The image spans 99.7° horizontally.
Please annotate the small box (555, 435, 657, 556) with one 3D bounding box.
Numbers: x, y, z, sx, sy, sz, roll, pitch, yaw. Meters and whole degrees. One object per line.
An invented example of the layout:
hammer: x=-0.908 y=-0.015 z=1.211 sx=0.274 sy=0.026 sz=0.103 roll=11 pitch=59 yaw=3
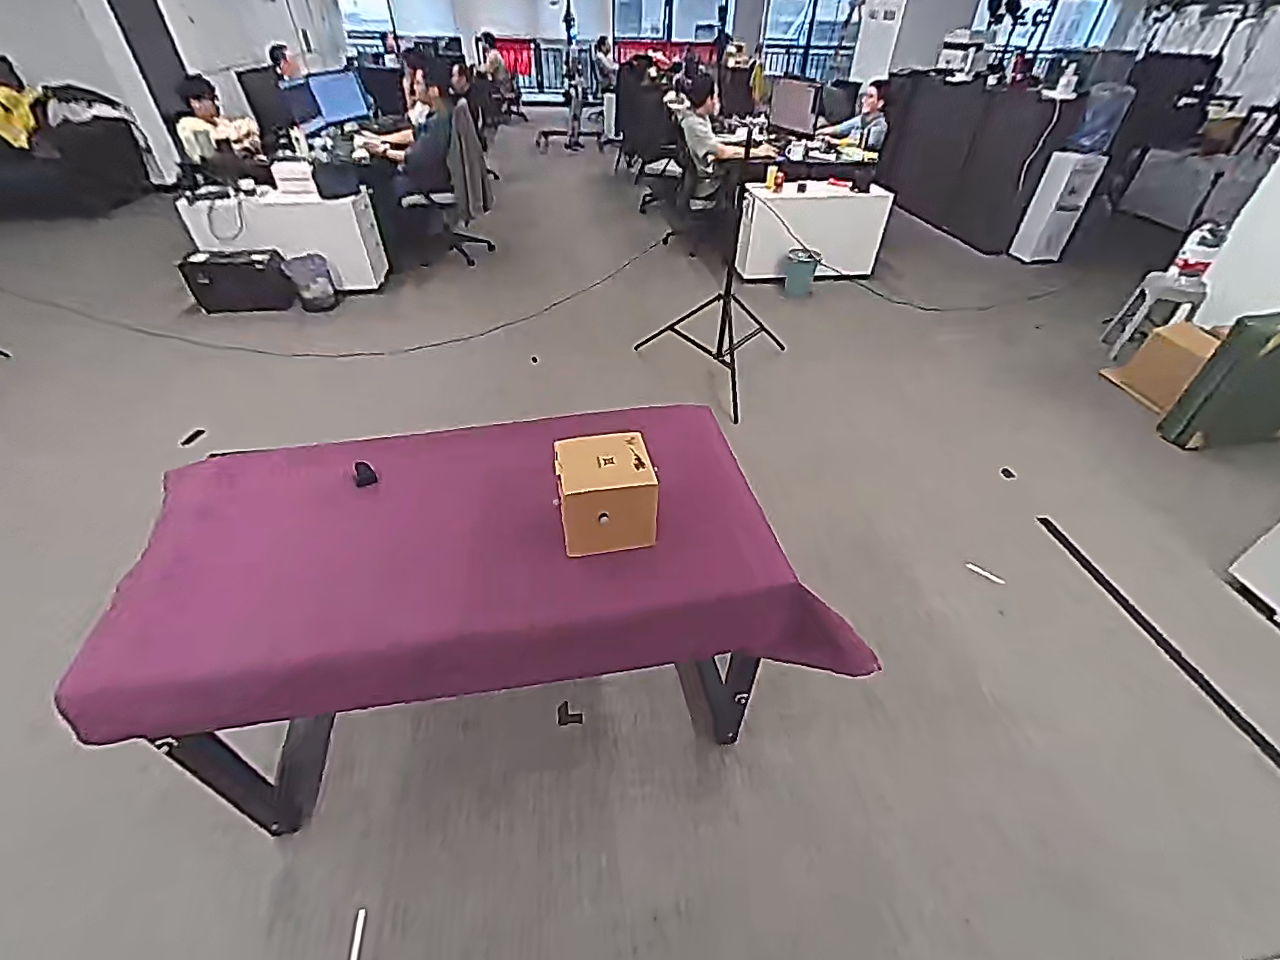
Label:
small box: x=-0.067 y=0.033 z=1.074 sx=0.179 sy=0.176 sz=0.168 roll=-8 pitch=41 yaw=-9
